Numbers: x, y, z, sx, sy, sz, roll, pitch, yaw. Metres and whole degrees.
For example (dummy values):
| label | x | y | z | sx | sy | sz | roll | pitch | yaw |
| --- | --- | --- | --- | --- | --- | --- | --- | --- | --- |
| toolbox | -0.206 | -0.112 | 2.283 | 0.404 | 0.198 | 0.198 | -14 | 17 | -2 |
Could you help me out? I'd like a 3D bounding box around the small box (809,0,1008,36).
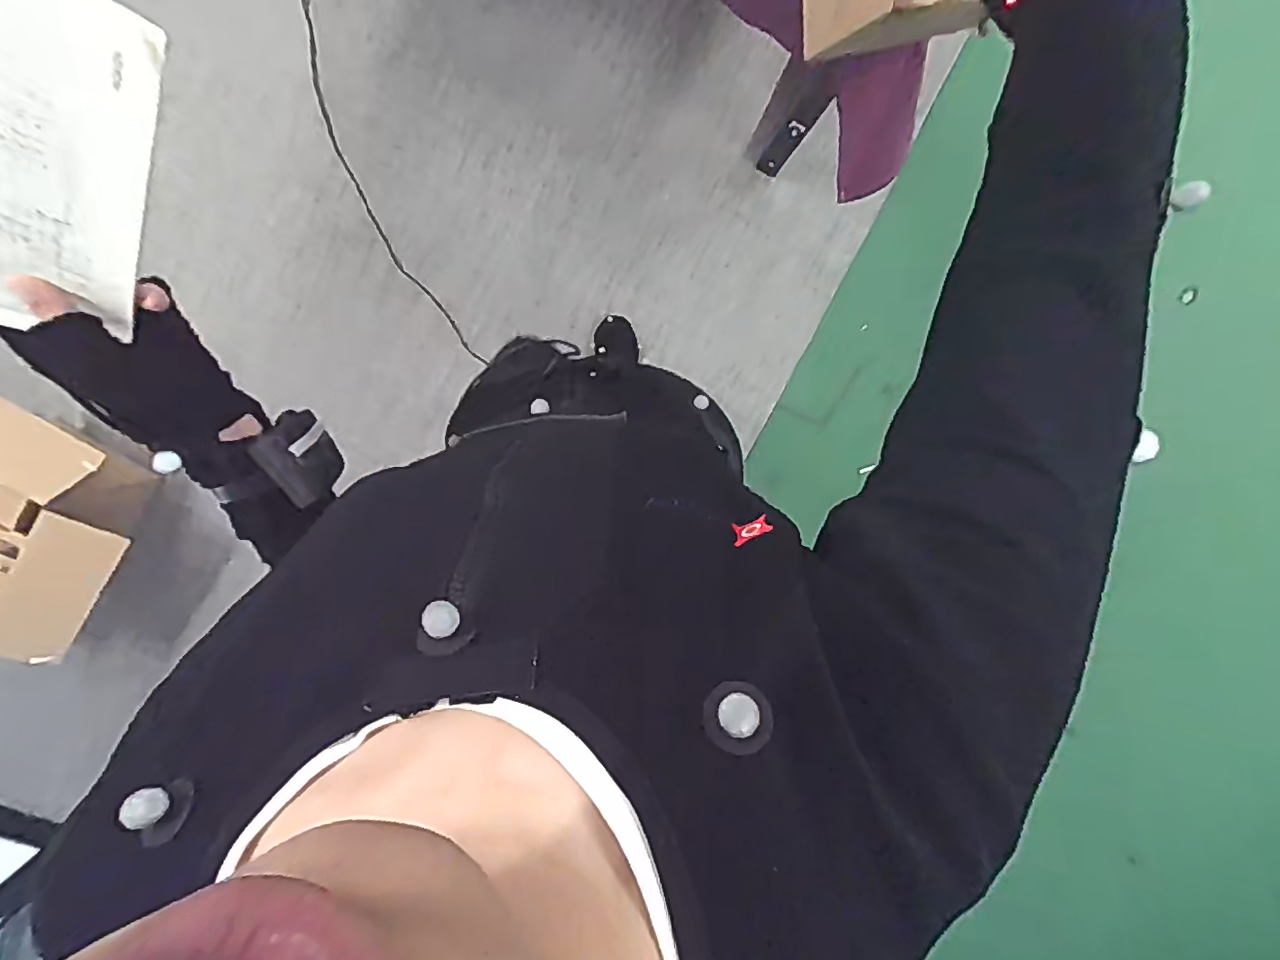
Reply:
| label | x | y | z | sx | sy | sz | roll | pitch | yaw |
| --- | --- | --- | --- | --- | --- | --- | --- | --- | --- |
| small box | 0.230 | -0.453 | 0.392 | 0.168 | 0.176 | 0.179 | -10 | 119 | -1 |
